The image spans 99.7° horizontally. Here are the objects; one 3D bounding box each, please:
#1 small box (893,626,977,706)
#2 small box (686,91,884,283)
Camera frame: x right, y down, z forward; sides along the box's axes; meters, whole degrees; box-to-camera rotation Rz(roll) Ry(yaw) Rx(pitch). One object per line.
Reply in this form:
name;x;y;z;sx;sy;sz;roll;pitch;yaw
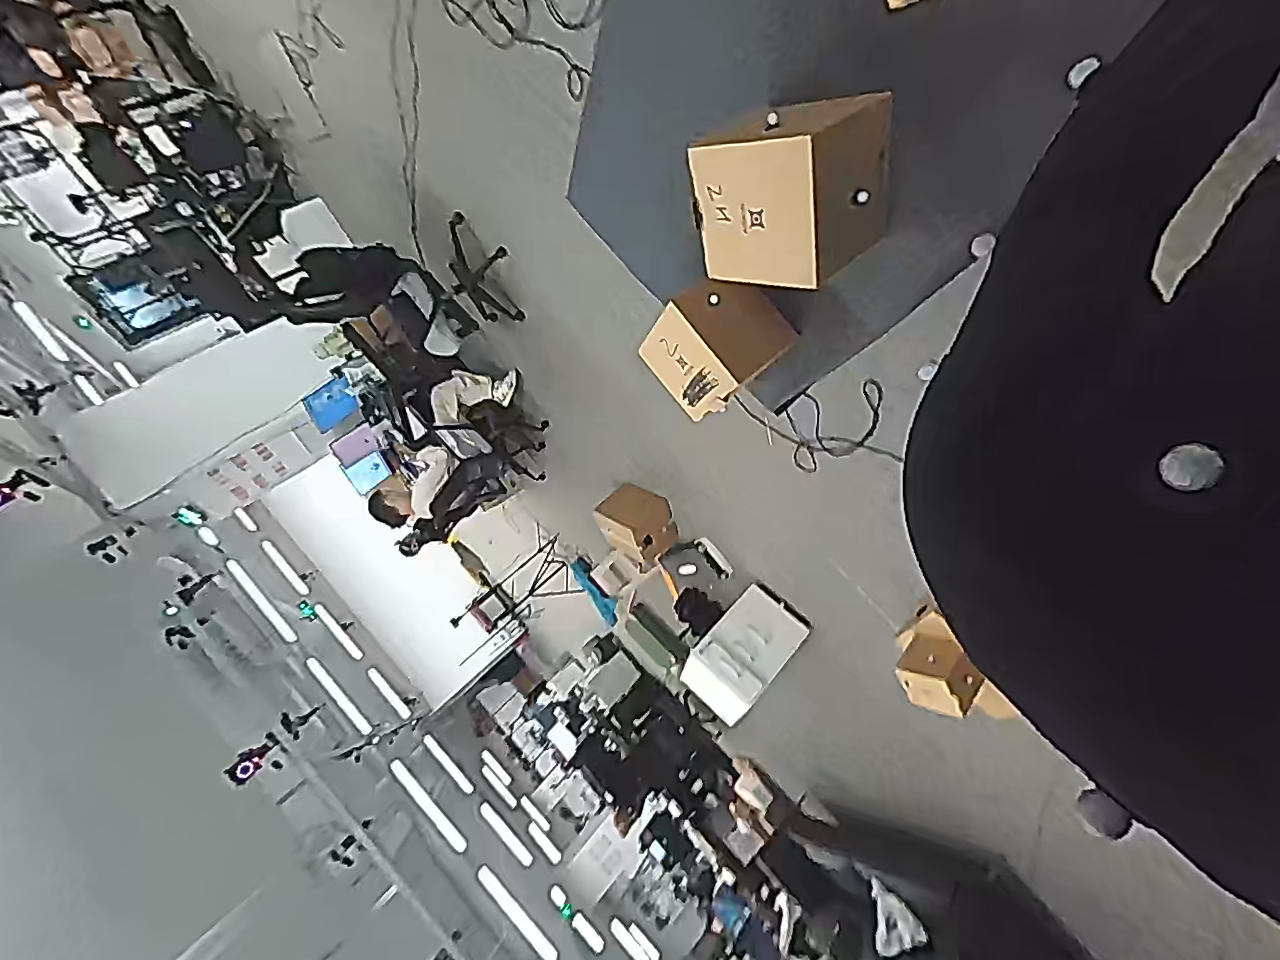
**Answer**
small box;0.981;0.607;1.786;0.168;0.176;0.179;57;152;-15
small box;0.189;-0.372;0.690;0.179;0.176;0.168;26;146;41
